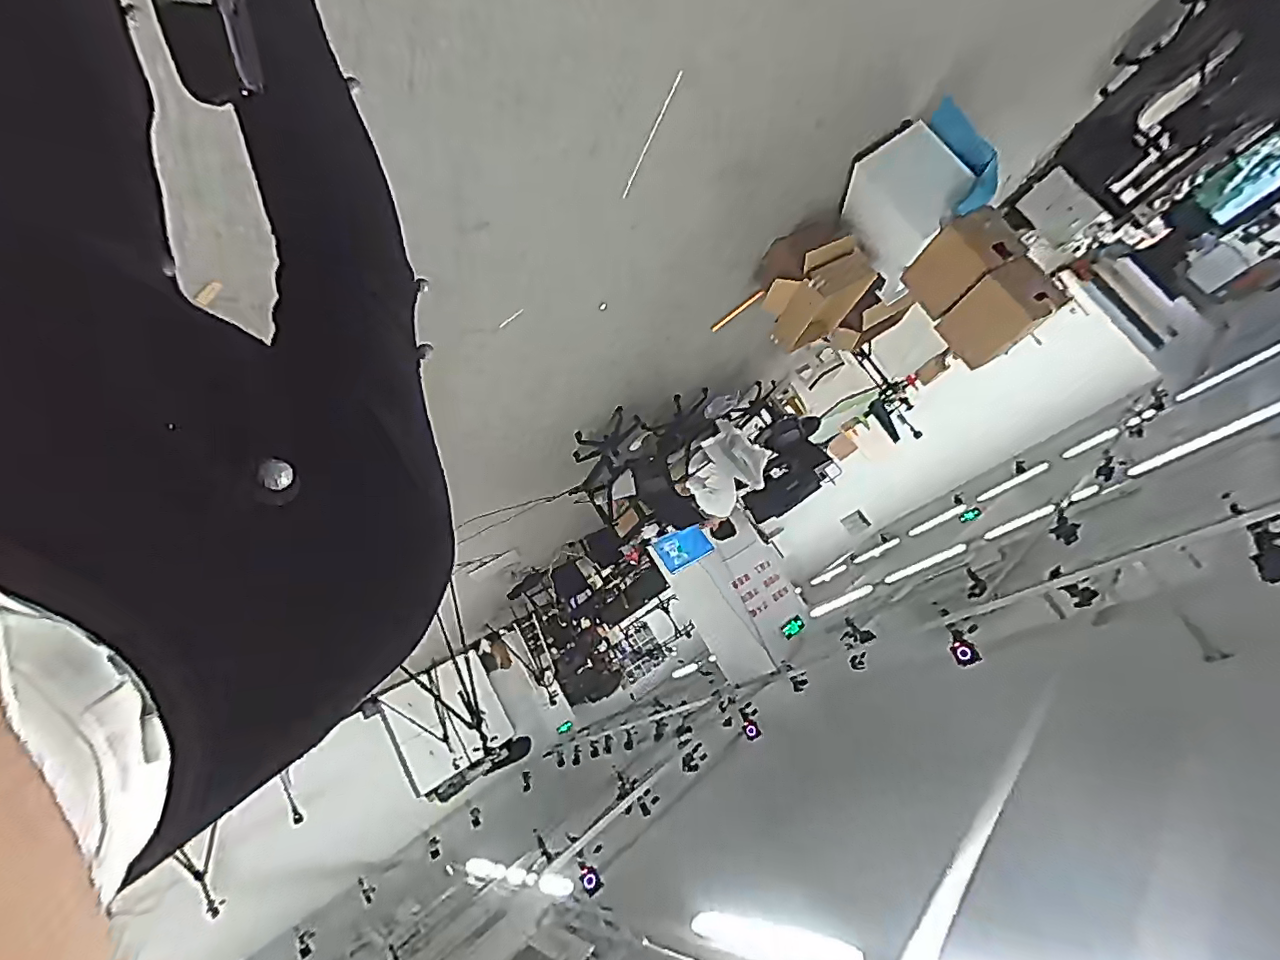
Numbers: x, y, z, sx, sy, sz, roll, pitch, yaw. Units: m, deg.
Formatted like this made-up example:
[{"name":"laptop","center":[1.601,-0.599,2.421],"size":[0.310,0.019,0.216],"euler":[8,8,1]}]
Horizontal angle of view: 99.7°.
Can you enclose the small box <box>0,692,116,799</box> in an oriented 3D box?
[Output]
[{"name":"small box","center":[-1.455,0.654,1.344],"size":[0.179,0.176,0.168],"euler":[-19,162,-43]}]

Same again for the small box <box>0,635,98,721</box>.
[{"name":"small box","center":[-1.540,0.520,1.381],"size":[0.179,0.176,0.168],"euler":[-18,161,-44]}]
